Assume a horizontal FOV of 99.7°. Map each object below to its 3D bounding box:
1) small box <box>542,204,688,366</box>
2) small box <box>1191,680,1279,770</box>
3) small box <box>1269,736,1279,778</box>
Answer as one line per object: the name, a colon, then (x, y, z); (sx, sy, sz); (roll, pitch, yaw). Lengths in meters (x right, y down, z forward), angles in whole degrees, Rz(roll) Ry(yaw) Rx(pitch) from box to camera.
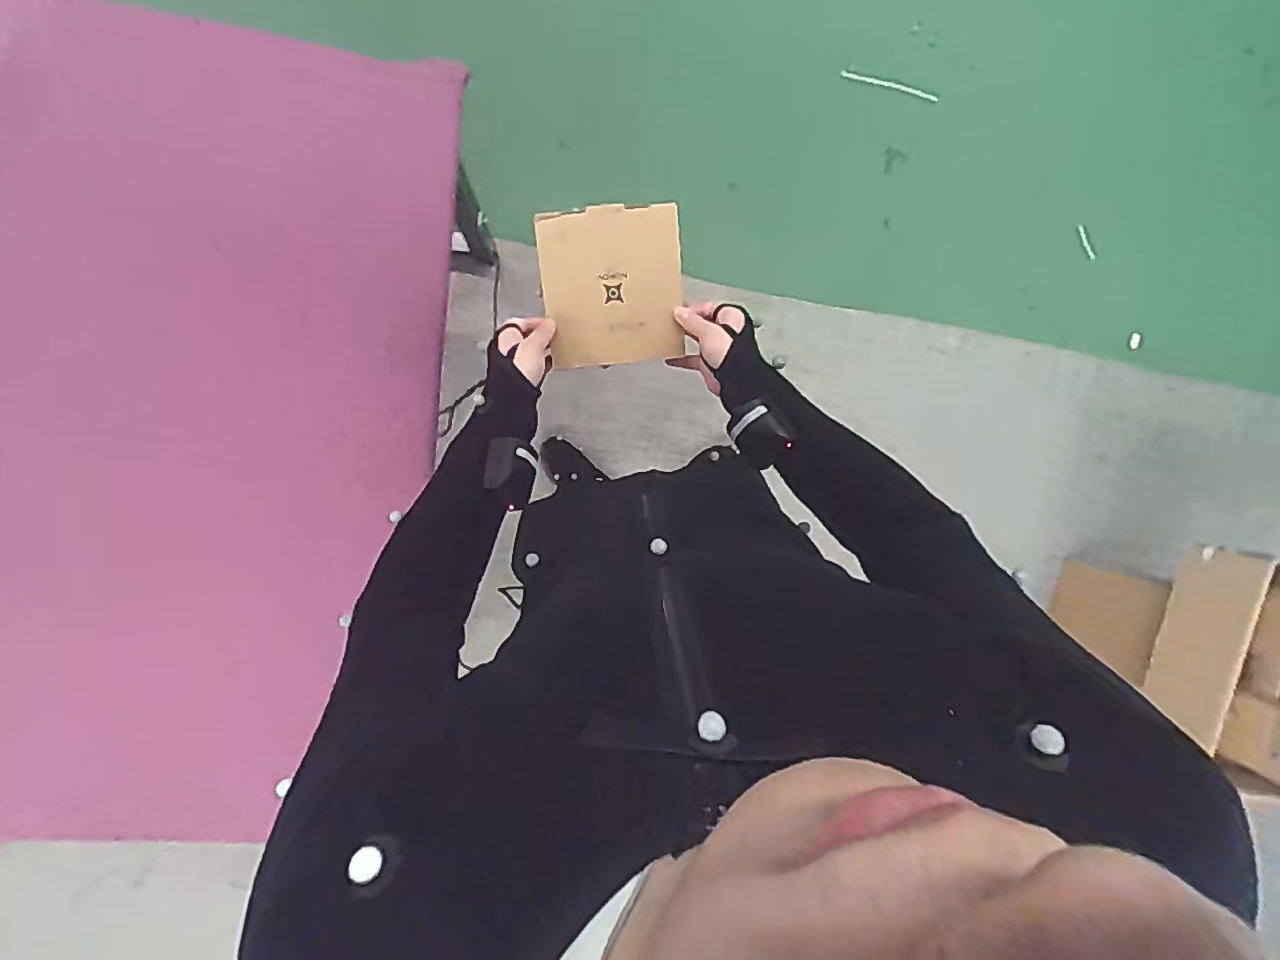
small box: (-0.032, -0.250, 0.713); (0.168, 0.176, 0.179); (-5, 108, -2)
small box: (1.610, 0.640, 1.406); (0.179, 0.176, 0.168); (13, 94, -9)
small box: (1.632, 0.658, 1.244); (0.179, 0.176, 0.168); (12, 94, -9)
